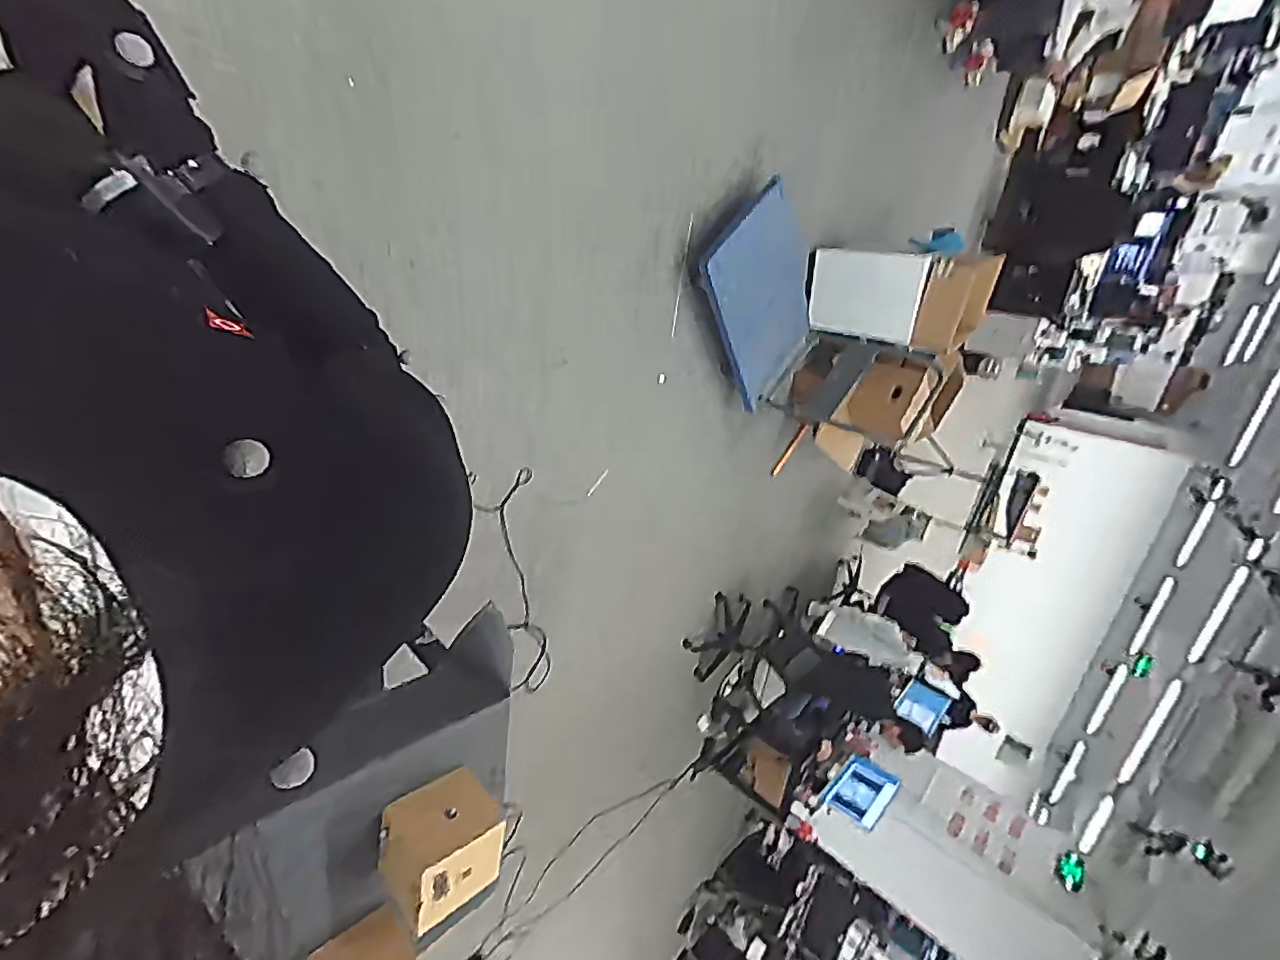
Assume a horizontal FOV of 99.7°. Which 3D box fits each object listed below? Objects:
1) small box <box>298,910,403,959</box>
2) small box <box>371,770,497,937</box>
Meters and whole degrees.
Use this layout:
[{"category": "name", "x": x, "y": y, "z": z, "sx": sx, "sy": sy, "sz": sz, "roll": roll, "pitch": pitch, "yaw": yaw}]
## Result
[{"category": "small box", "x": -0.566, "y": 1.002, "z": 1.040, "sx": 0.179, "sy": 0.176, "sz": 0.168, "roll": -11, "pitch": 117, "yaw": -47}, {"category": "small box", "x": -0.415, "y": 0.729, "z": 1.078, "sx": 0.179, "sy": 0.176, "sz": 0.168, "roll": -8, "pitch": 115, "yaw": -48}]
